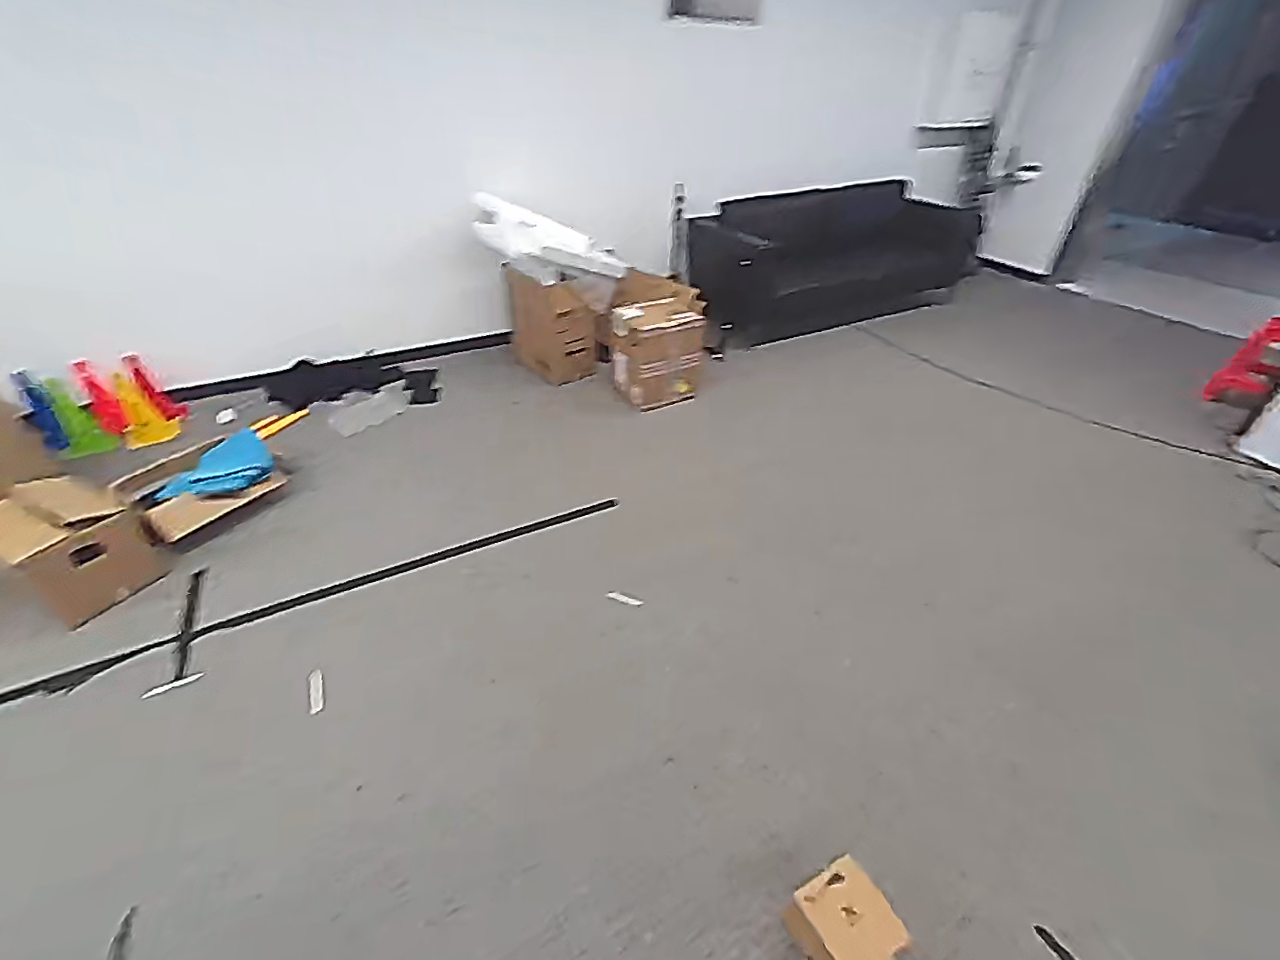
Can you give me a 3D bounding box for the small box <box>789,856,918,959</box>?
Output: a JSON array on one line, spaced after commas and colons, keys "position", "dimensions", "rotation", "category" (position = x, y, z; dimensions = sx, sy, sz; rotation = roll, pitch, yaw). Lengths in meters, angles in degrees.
[{"position": [0.443, 0.958, 1.150], "dimensions": [0.168, 0.176, 0.179], "rotation": [-17, 40, -22], "category": "small box"}]
